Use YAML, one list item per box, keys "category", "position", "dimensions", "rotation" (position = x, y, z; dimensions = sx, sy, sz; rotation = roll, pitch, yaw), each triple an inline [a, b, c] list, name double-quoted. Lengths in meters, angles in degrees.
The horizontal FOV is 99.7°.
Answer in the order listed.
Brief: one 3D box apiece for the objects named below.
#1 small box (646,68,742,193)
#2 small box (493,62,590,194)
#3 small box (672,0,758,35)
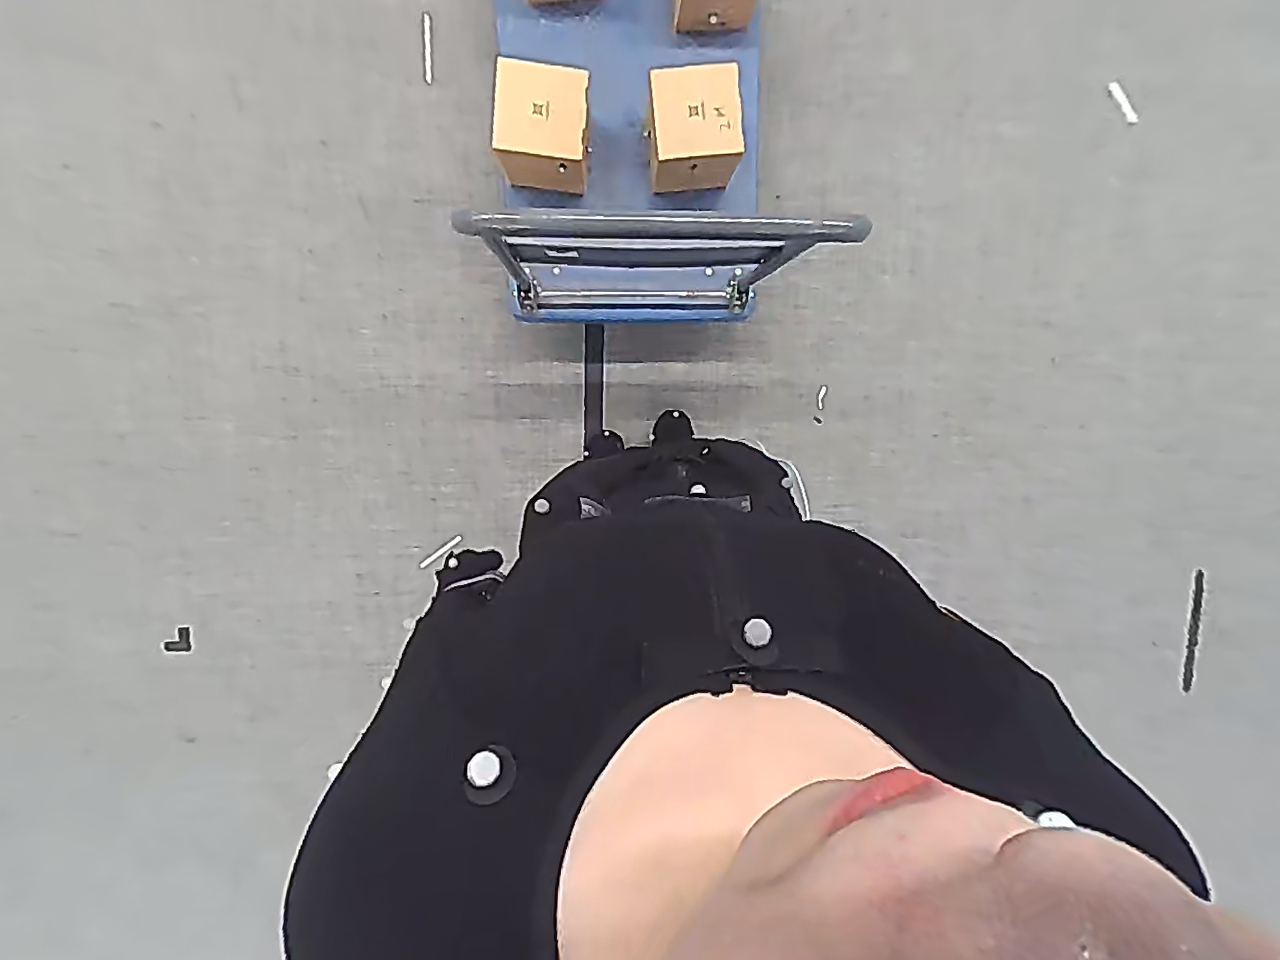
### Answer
- category: "small box"
  position: [0.107, -0.729, 1.145]
  dimensions: [0.179, 0.176, 0.168]
  rotation: [-6, 98, -3]
- category: "small box"
  position: [-0.198, -0.721, 1.128]
  dimensions: [0.179, 0.176, 0.168]
  rotation: [5, 97, -6]
- category: "small box"
  position: [0.155, -1.061, 1.104]
  dimensions: [0.168, 0.176, 0.179]
  rotation: [-4, 99, -3]
